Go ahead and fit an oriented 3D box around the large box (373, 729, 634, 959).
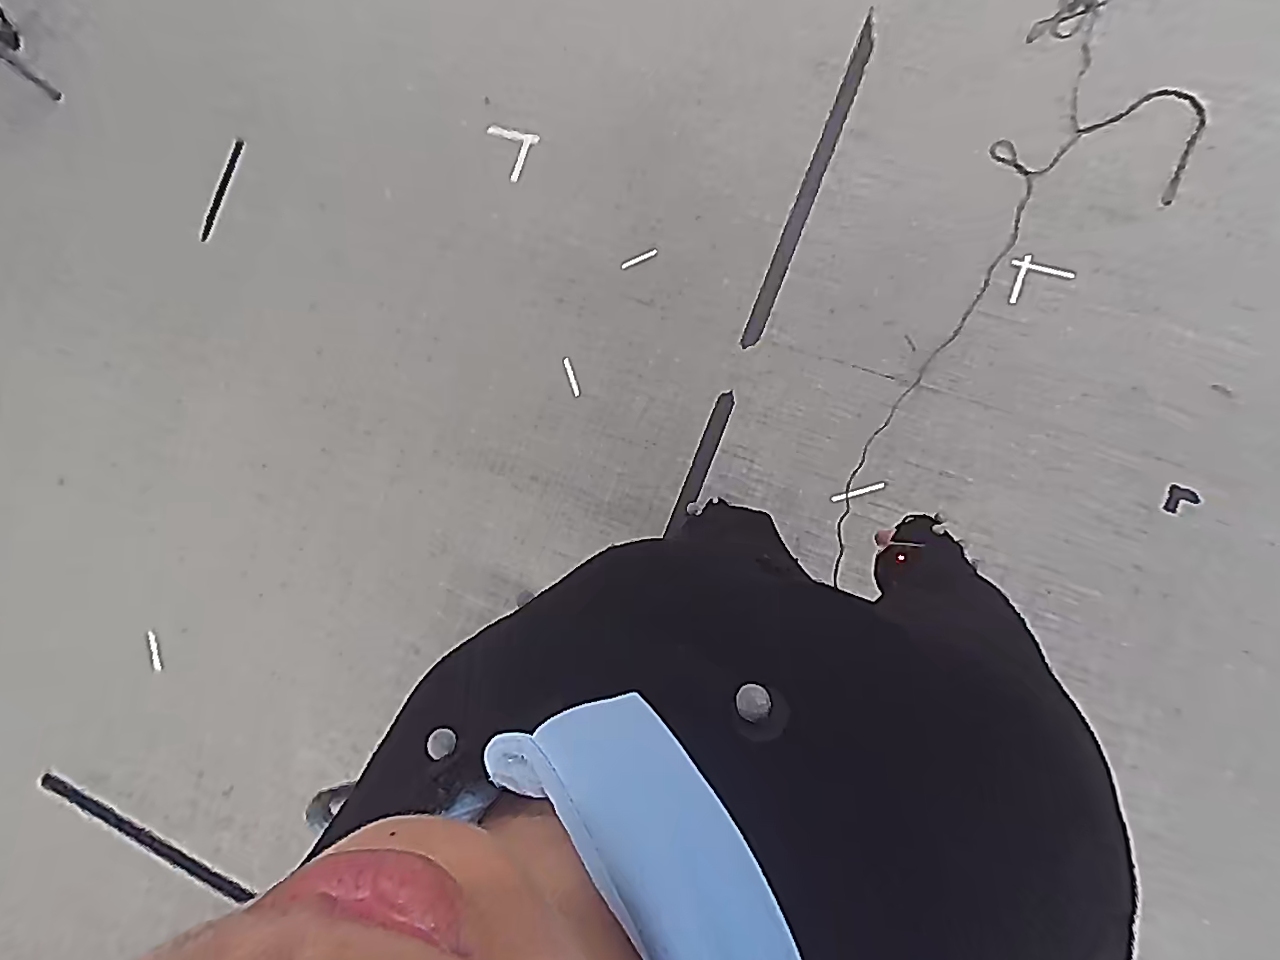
[{"bbox_3d":[-0.264,0.806,1.164,0.408,0.320,0.320,18,87,11],"label":"large box"}]
